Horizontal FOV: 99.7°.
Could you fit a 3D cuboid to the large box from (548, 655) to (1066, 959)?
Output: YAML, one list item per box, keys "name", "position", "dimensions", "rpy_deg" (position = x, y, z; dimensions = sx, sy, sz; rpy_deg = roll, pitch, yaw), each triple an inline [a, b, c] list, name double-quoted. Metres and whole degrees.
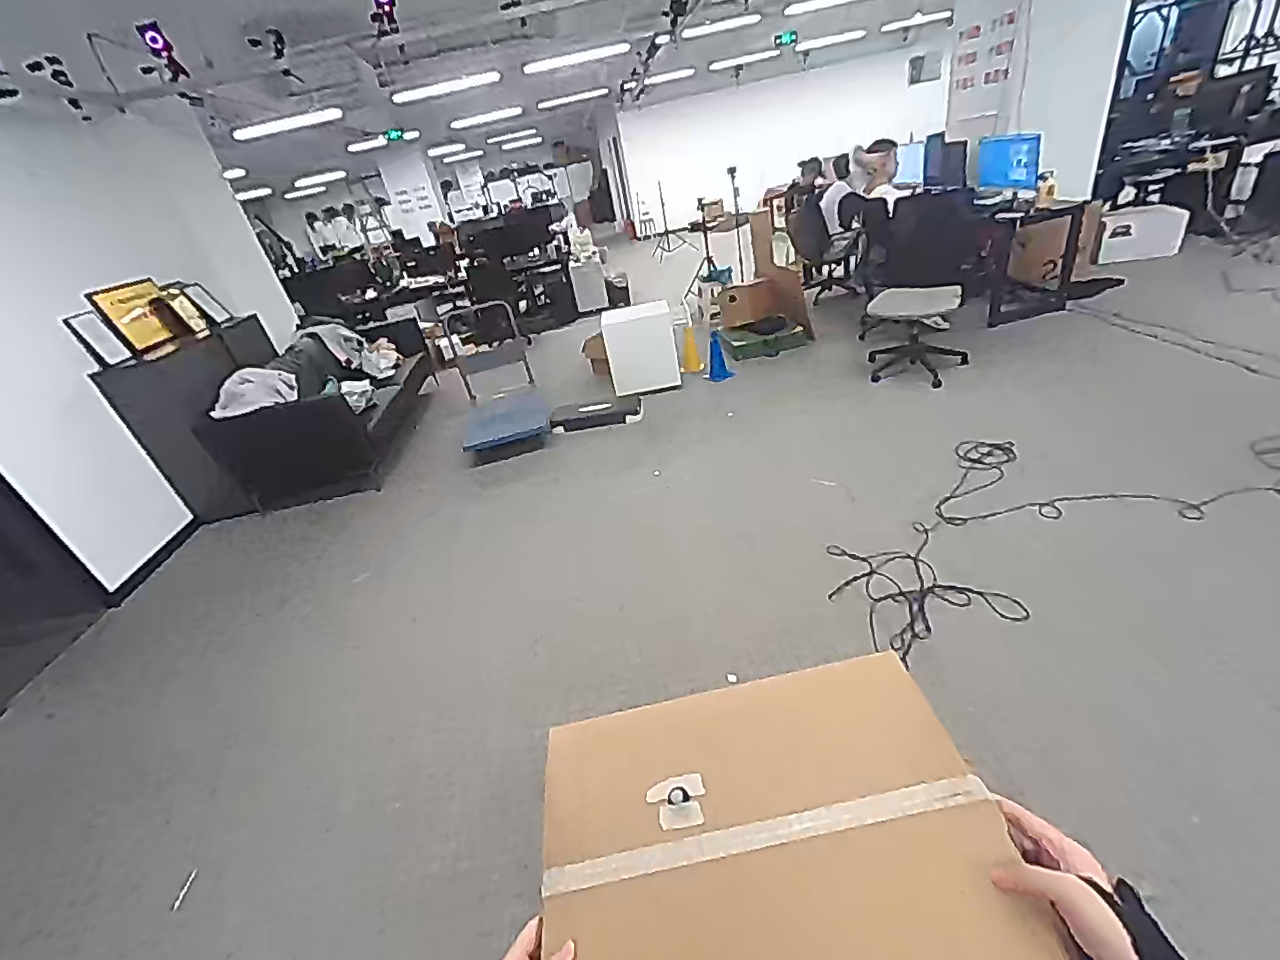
- name: "large box"
  position: [0.144, 0.452, 0.585]
  dimensions: [0.408, 0.320, 0.320]
  rpy_deg: [-16, 33, 3]
